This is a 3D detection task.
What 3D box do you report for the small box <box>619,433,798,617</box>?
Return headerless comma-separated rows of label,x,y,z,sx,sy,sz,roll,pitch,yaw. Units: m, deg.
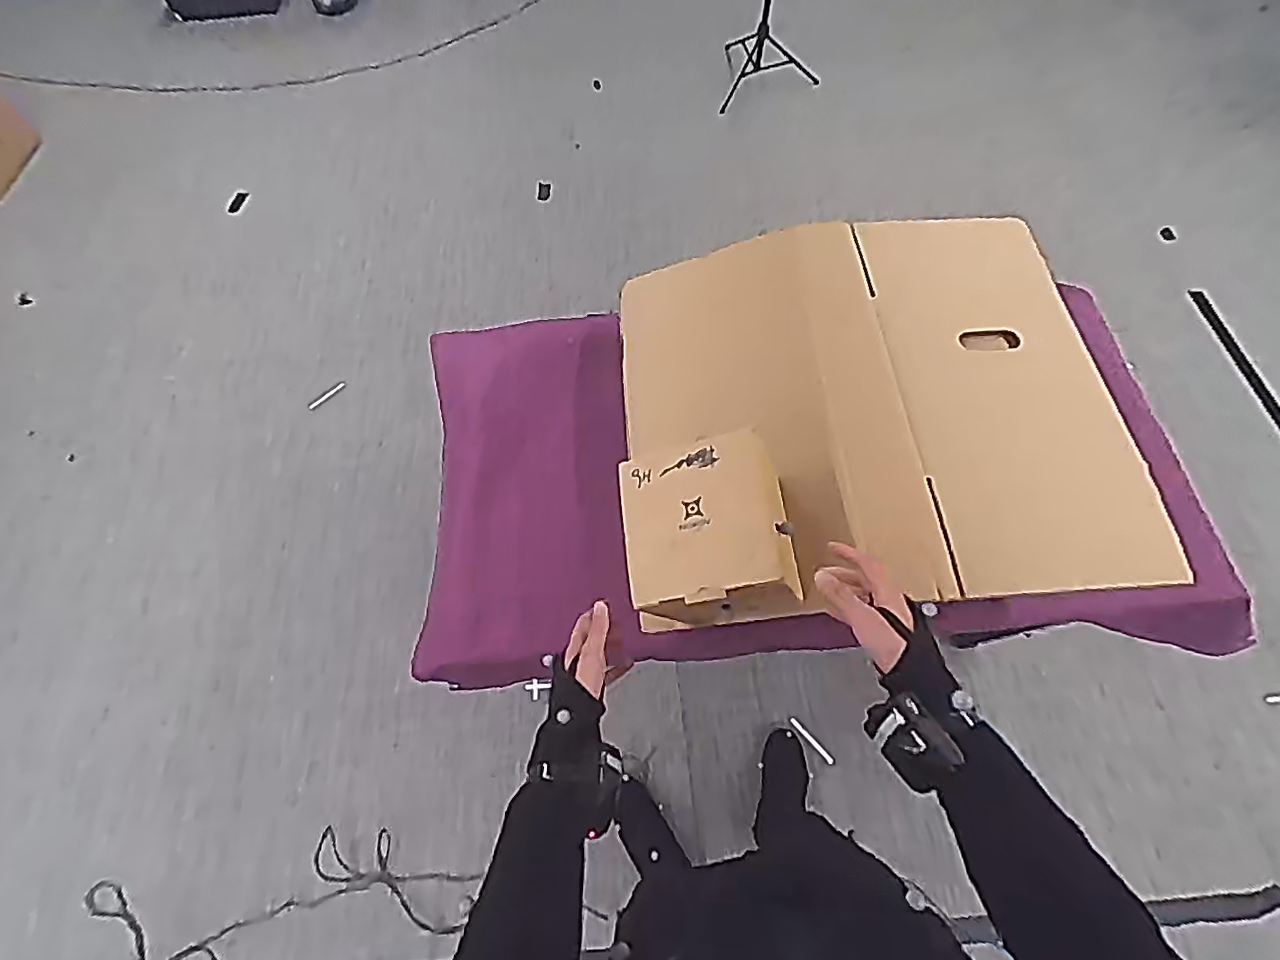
small box,0.088,0.069,0.665,0.168,0.176,0.179,-14,67,19
